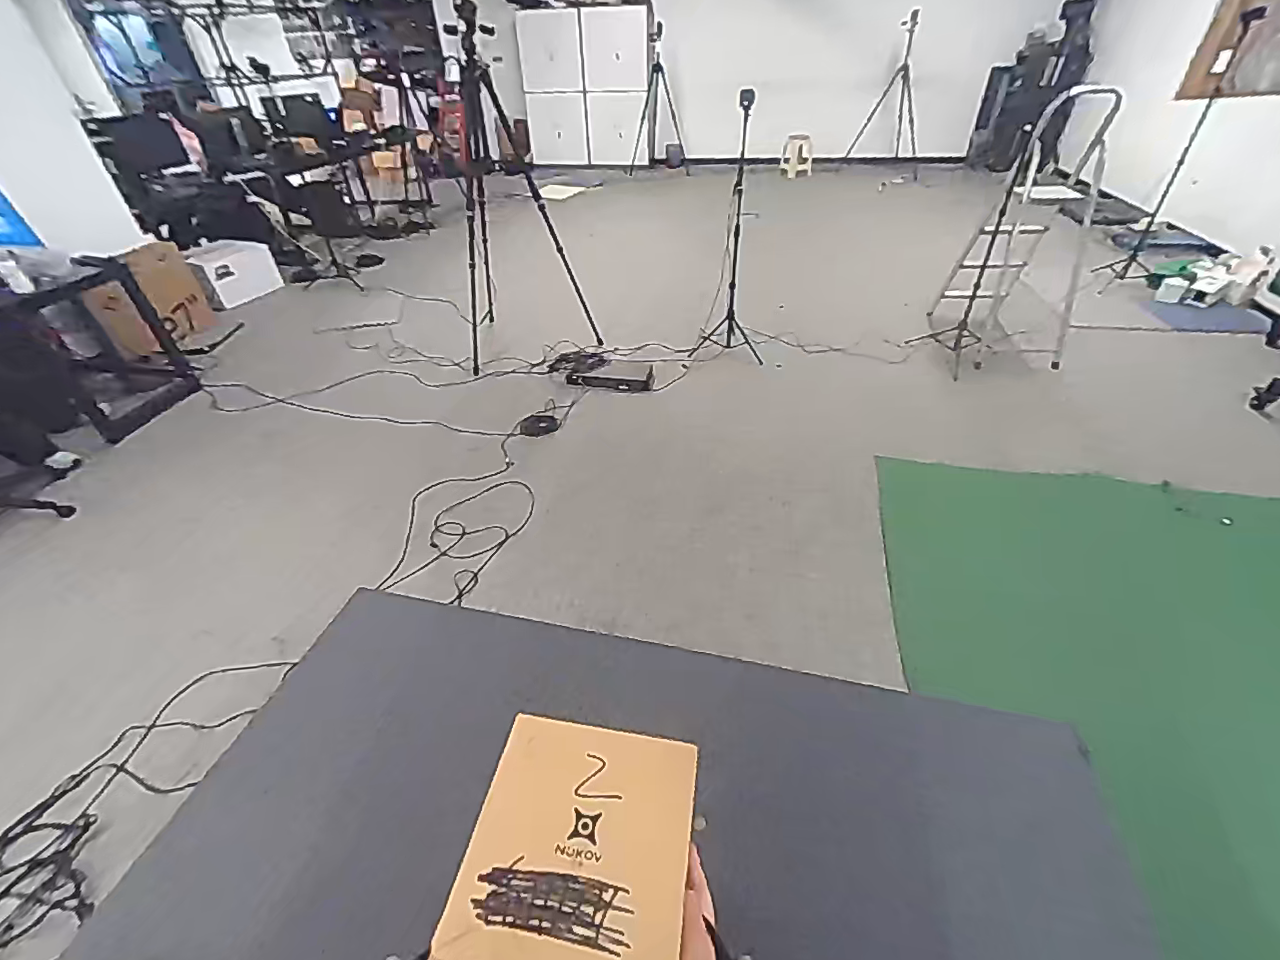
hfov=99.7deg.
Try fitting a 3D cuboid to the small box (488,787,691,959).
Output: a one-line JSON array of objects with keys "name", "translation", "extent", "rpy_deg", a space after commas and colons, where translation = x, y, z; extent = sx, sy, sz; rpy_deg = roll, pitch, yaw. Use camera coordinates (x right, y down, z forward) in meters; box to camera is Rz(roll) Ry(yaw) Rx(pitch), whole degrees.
[{"name": "small box", "translation": [-0.041, 0.457, 0.557], "extent": [0.168, 0.176, 0.179], "rpy_deg": [5, 39, 9]}]
